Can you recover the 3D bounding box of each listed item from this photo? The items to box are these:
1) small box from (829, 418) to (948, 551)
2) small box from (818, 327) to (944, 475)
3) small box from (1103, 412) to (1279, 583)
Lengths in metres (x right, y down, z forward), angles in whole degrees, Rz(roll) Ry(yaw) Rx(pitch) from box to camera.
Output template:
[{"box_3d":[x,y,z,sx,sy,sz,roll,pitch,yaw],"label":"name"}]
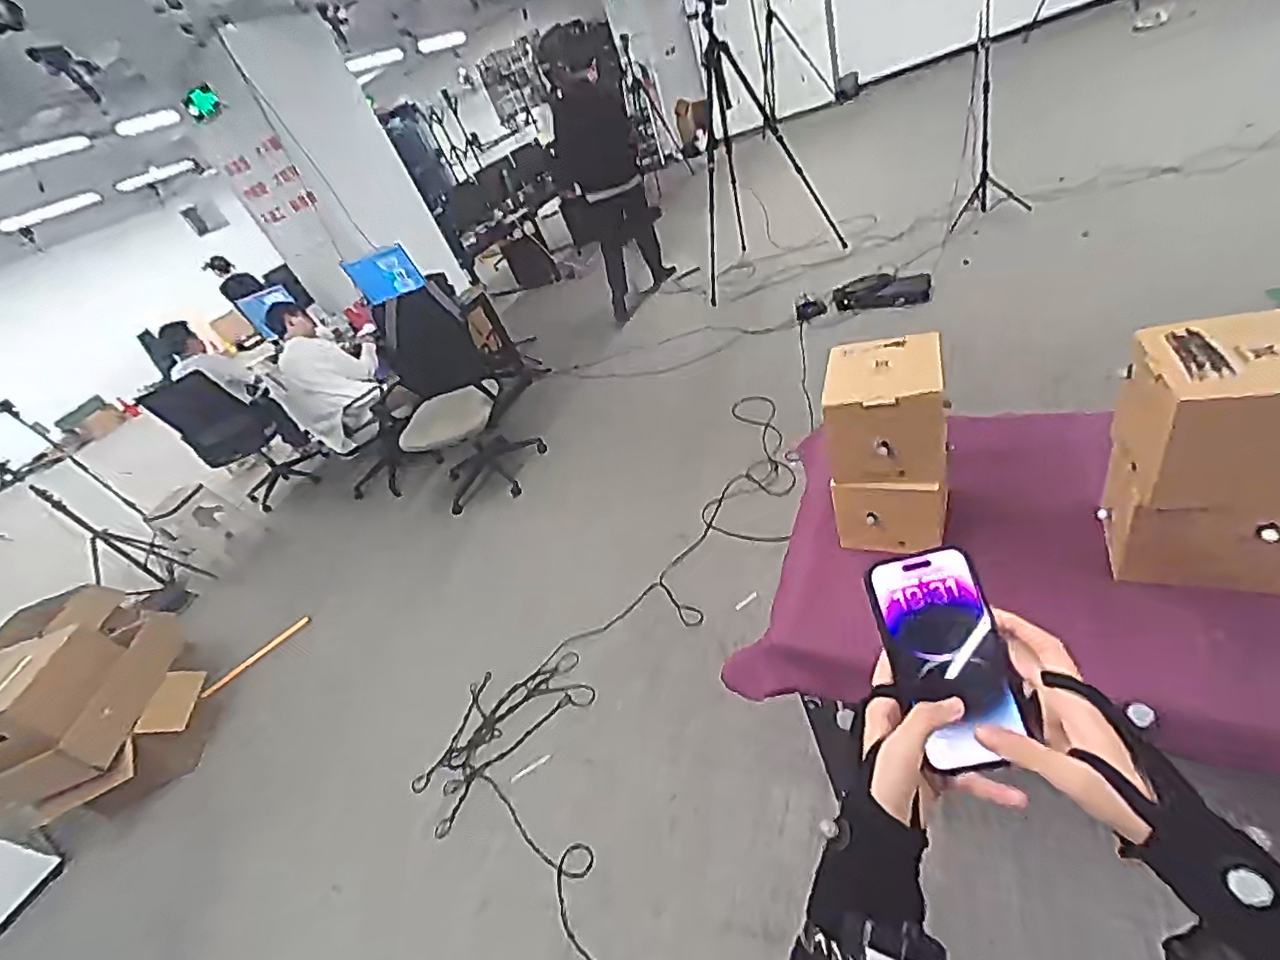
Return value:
[{"box_3d":[0.453,0.007,0.969,0.168,0.176,0.179,1,43,33],"label":"small box"},{"box_3d":[0.397,-0.119,0.879,0.168,0.176,0.179,-2,42,28],"label":"small box"},{"box_3d":[0.774,0.024,0.747,0.179,0.176,0.168,0,43,32],"label":"small box"}]
